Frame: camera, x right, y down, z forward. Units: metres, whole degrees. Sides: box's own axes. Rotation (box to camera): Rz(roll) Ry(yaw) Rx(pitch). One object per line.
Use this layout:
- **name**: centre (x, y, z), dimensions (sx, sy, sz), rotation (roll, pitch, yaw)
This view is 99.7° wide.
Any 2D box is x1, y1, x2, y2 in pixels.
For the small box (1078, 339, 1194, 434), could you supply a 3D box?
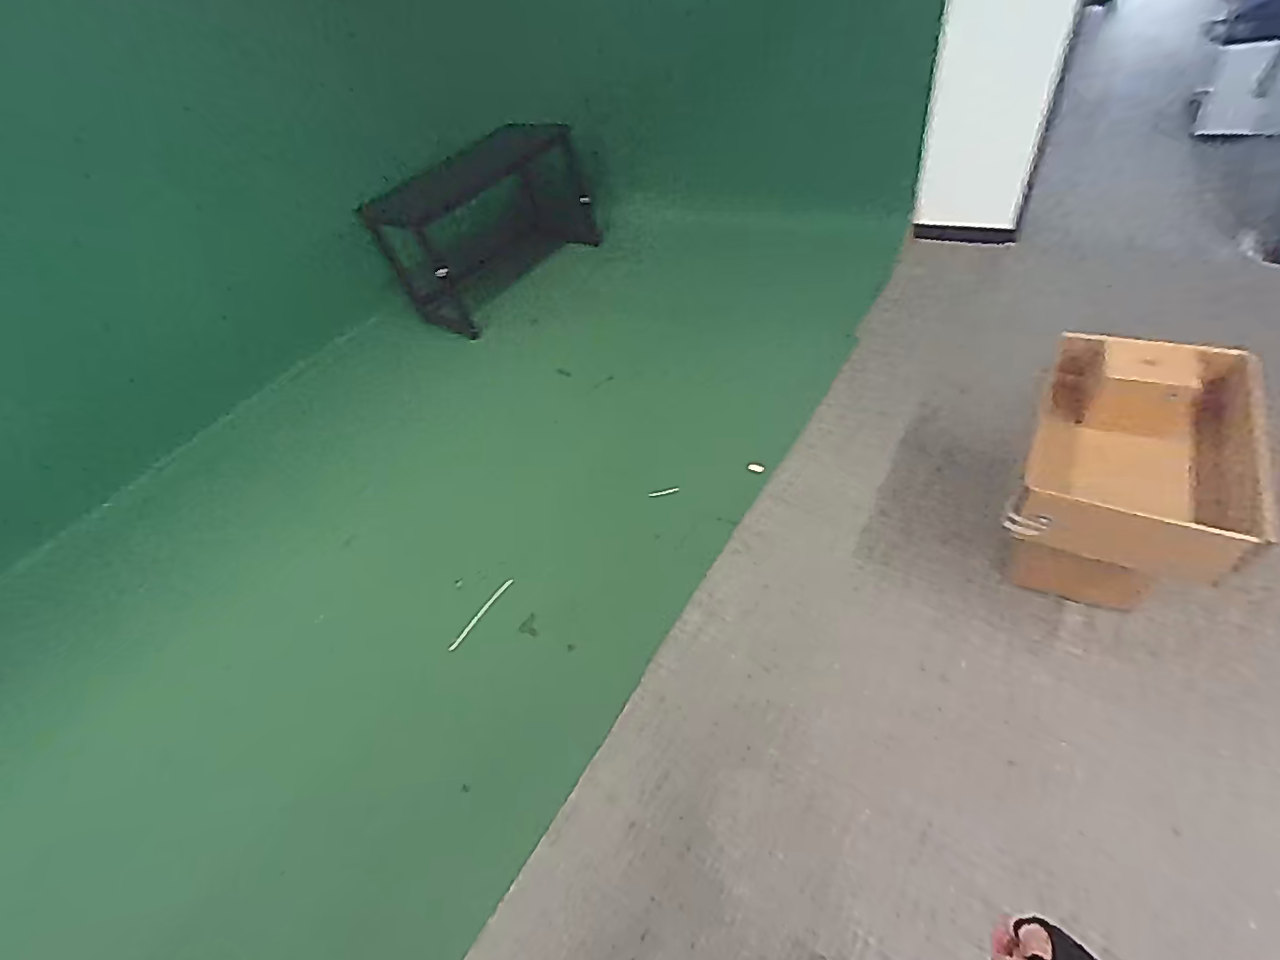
- **small box**: centre (1.254, -0.238, 1.383), dimensions (0.179, 0.176, 0.168), rotation (14, 53, 26)
